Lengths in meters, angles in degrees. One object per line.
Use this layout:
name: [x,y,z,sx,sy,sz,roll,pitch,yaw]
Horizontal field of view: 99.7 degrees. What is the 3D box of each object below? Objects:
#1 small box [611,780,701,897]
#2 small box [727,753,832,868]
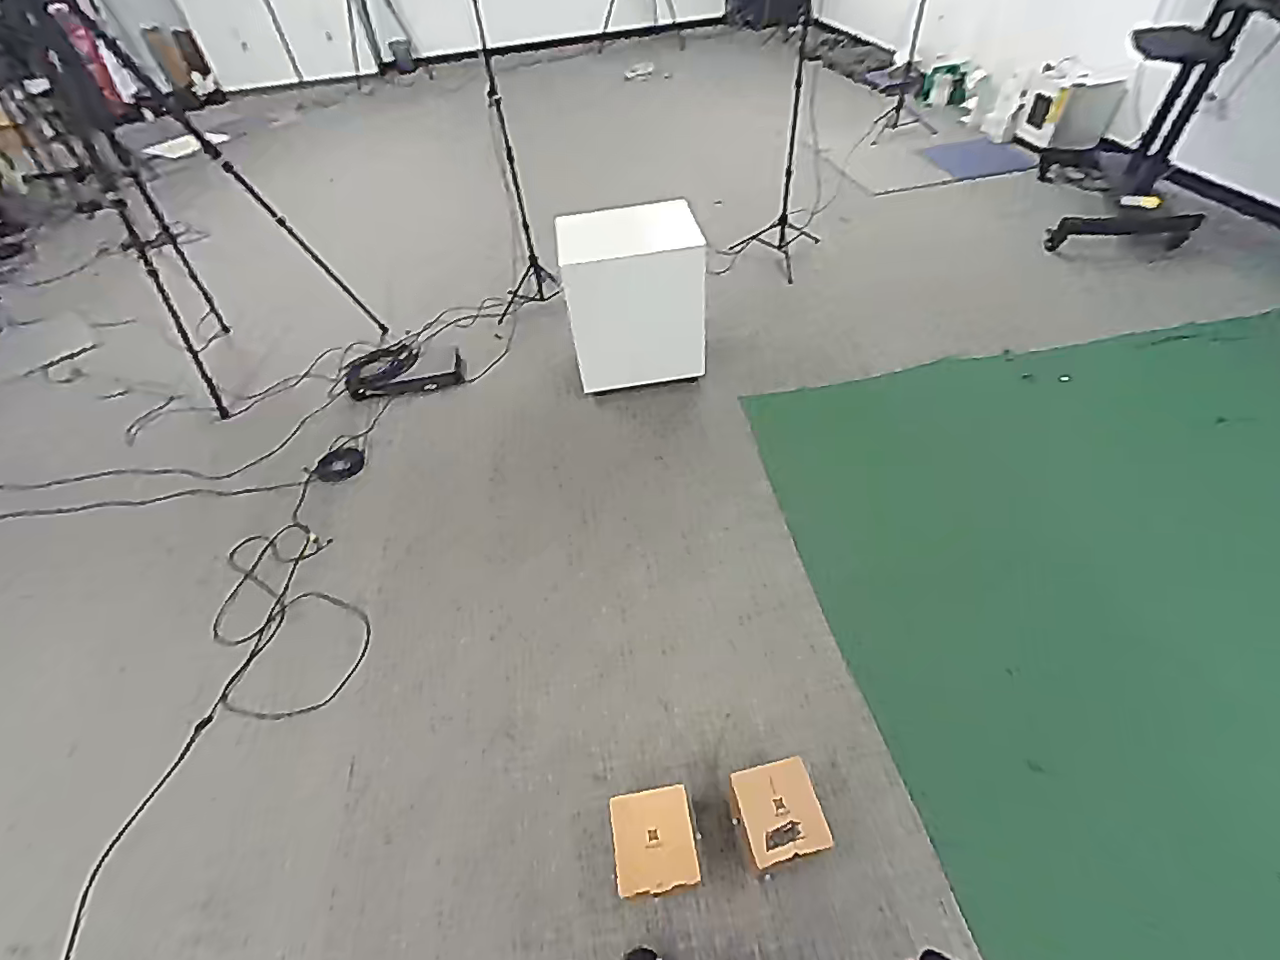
small box: [0.032,0.778,1.173,0.168,0.176,0.179,-9,49,-3]
small box: [0.296,0.730,1.187,0.168,0.176,0.179,-12,49,-5]
